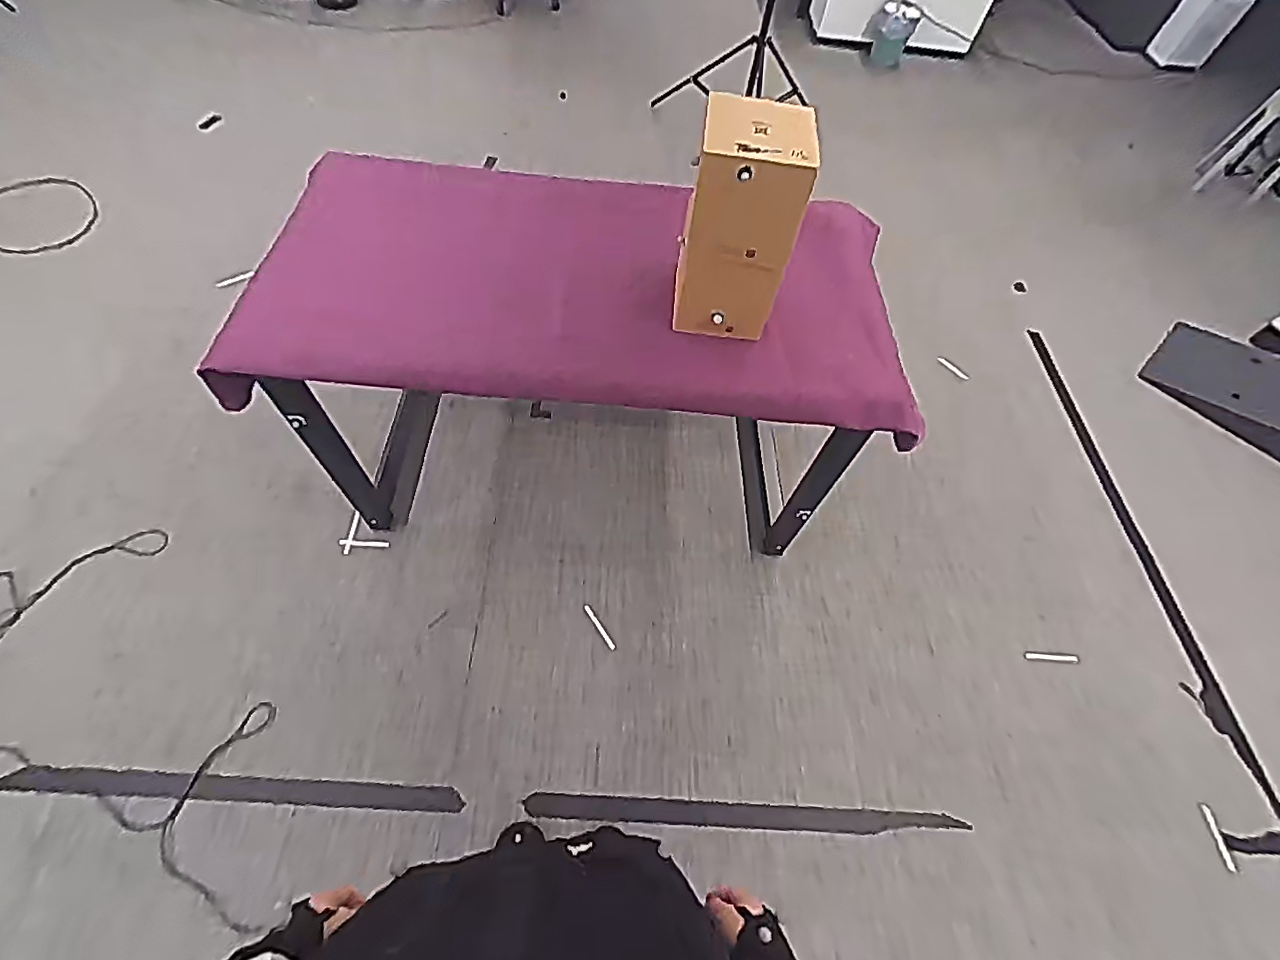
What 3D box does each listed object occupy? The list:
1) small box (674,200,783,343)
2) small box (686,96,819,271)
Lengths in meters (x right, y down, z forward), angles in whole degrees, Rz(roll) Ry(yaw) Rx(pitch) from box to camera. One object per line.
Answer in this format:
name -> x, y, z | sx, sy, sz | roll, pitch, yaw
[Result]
small box -> 0.155, -0.383, 0.996 | 0.168, 0.176, 0.179 | 6, 59, -1
small box -> 0.169, -0.464, 0.854 | 0.168, 0.176, 0.179 | 8, 58, 0
